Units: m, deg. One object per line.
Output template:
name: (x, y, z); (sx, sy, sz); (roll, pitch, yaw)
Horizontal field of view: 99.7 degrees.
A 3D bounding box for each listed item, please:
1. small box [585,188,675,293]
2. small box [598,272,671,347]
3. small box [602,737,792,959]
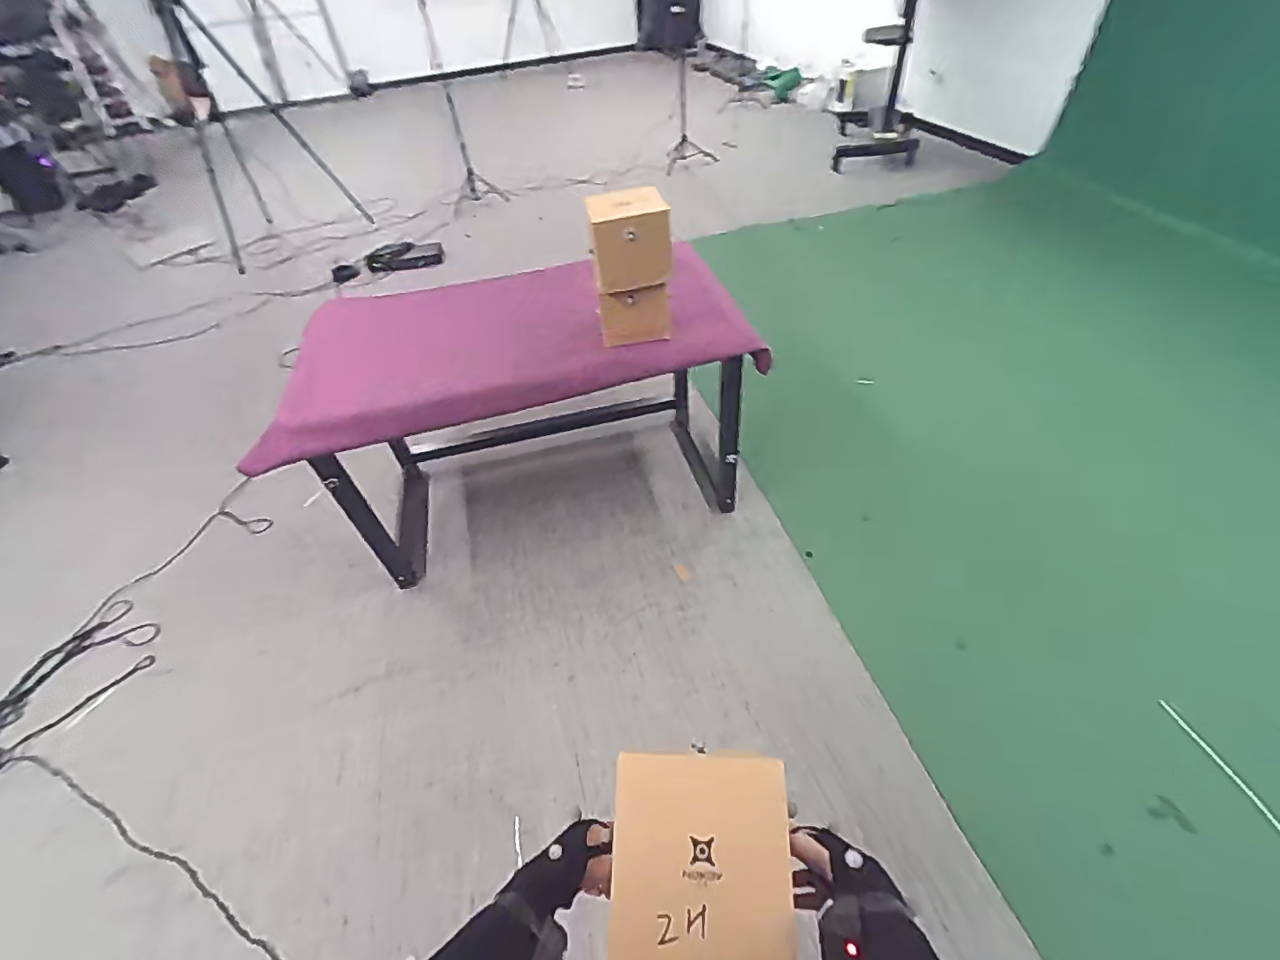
small box: (-0.022, -0.558, 1.267); (0.179, 0.176, 0.168); (-11, 46, -3)
small box: (-0.012, -0.465, 1.404); (0.179, 0.176, 0.168); (-7, 45, 1)
small box: (0.053, 0.371, 0.567); (0.168, 0.176, 0.179); (2, 65, 3)
